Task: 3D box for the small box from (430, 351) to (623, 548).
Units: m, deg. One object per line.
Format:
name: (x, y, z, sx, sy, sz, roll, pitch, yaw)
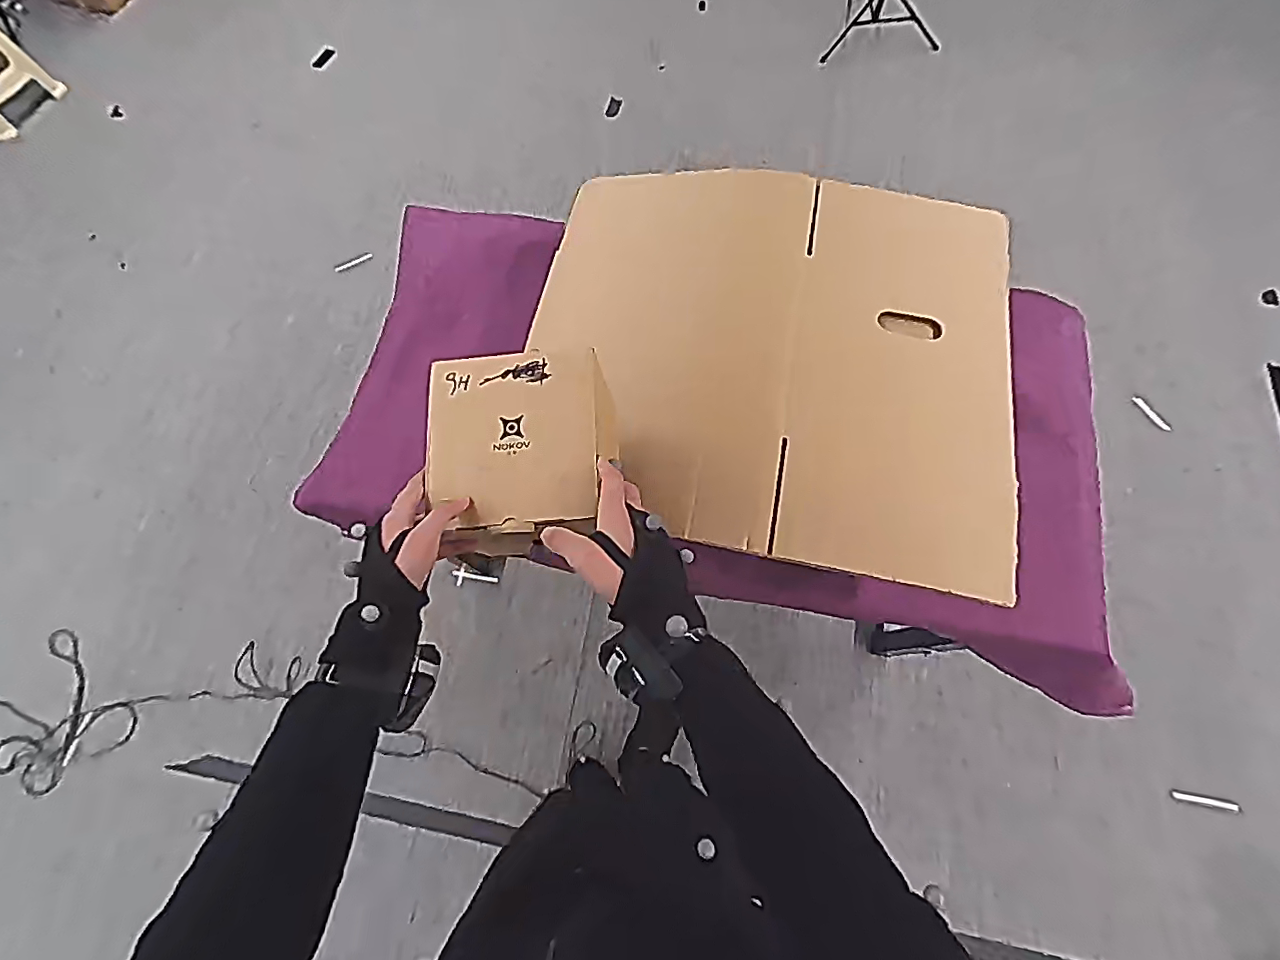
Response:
small box: (-0.112, -0.020, 0.595, 0.168, 0.176, 0.179, -4, 75, 4)
